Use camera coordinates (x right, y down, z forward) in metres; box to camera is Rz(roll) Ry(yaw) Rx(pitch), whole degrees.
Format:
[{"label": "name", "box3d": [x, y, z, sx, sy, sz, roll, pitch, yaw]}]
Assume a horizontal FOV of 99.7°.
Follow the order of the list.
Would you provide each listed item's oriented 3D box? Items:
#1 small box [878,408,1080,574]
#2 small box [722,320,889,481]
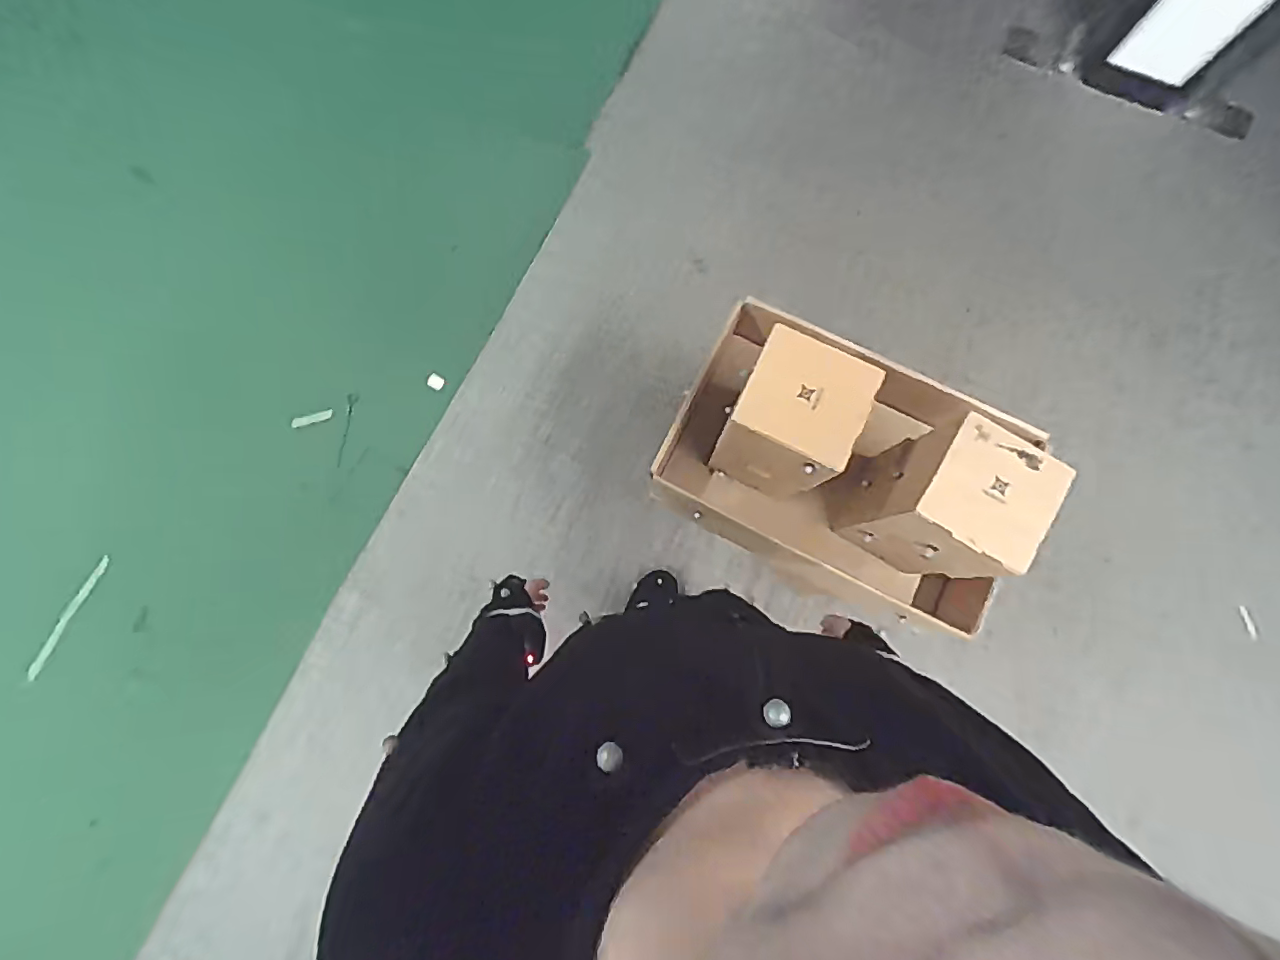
[{"label": "small box", "box3d": [0.490, 0.025, 0.815, 0.168, 0.176, 0.179, 34, 83, 6]}, {"label": "small box", "box3d": [0.244, -0.112, 0.846, 0.179, 0.176, 0.168, 26, 82, 4]}]
